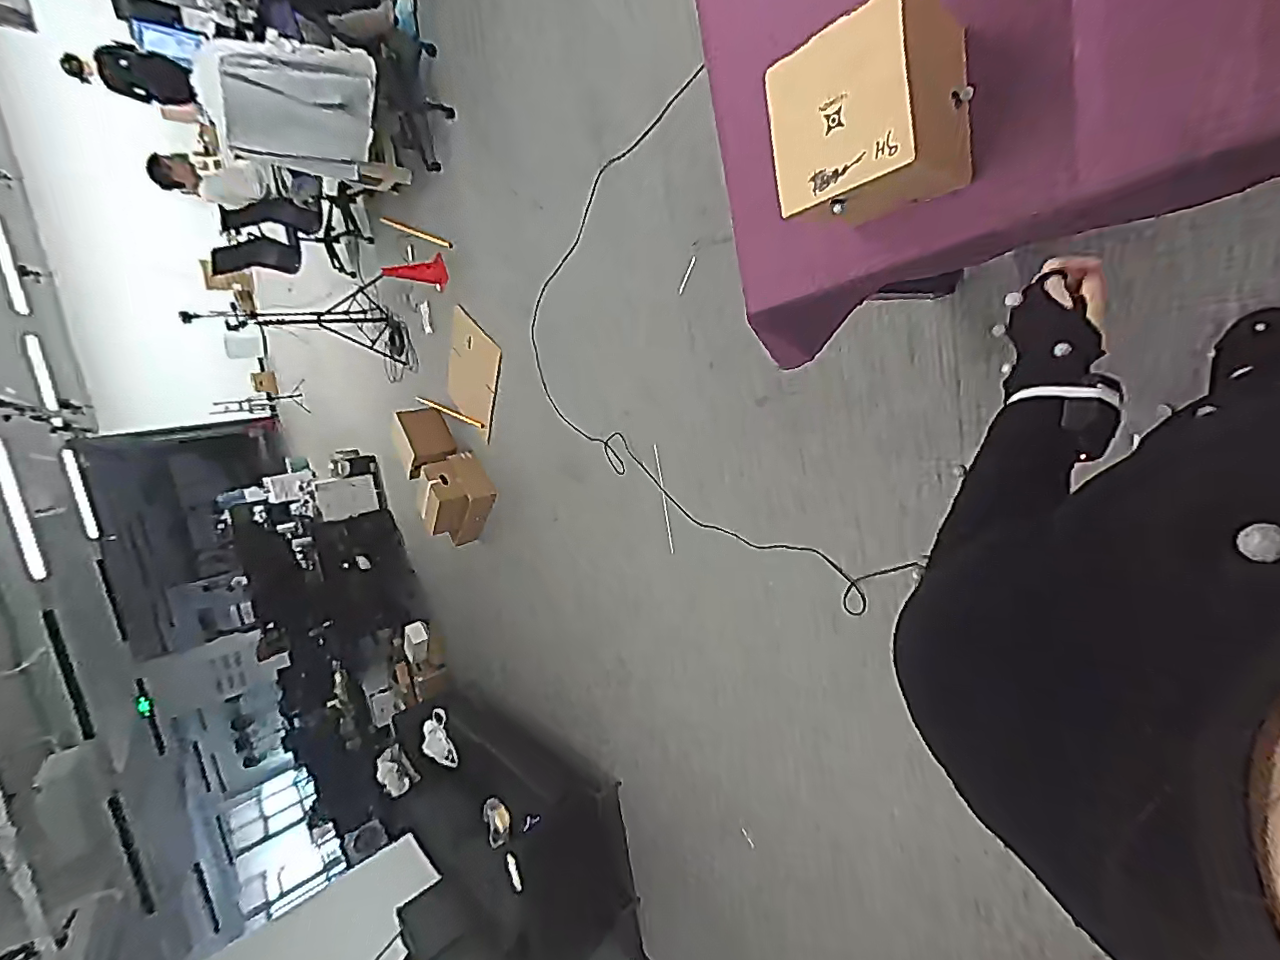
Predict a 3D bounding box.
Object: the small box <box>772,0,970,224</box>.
[{"bbox_3d":[0.285,-0.438,0.664,0.168,0.176,0.179,2,103,50],"label":"small box"}]
